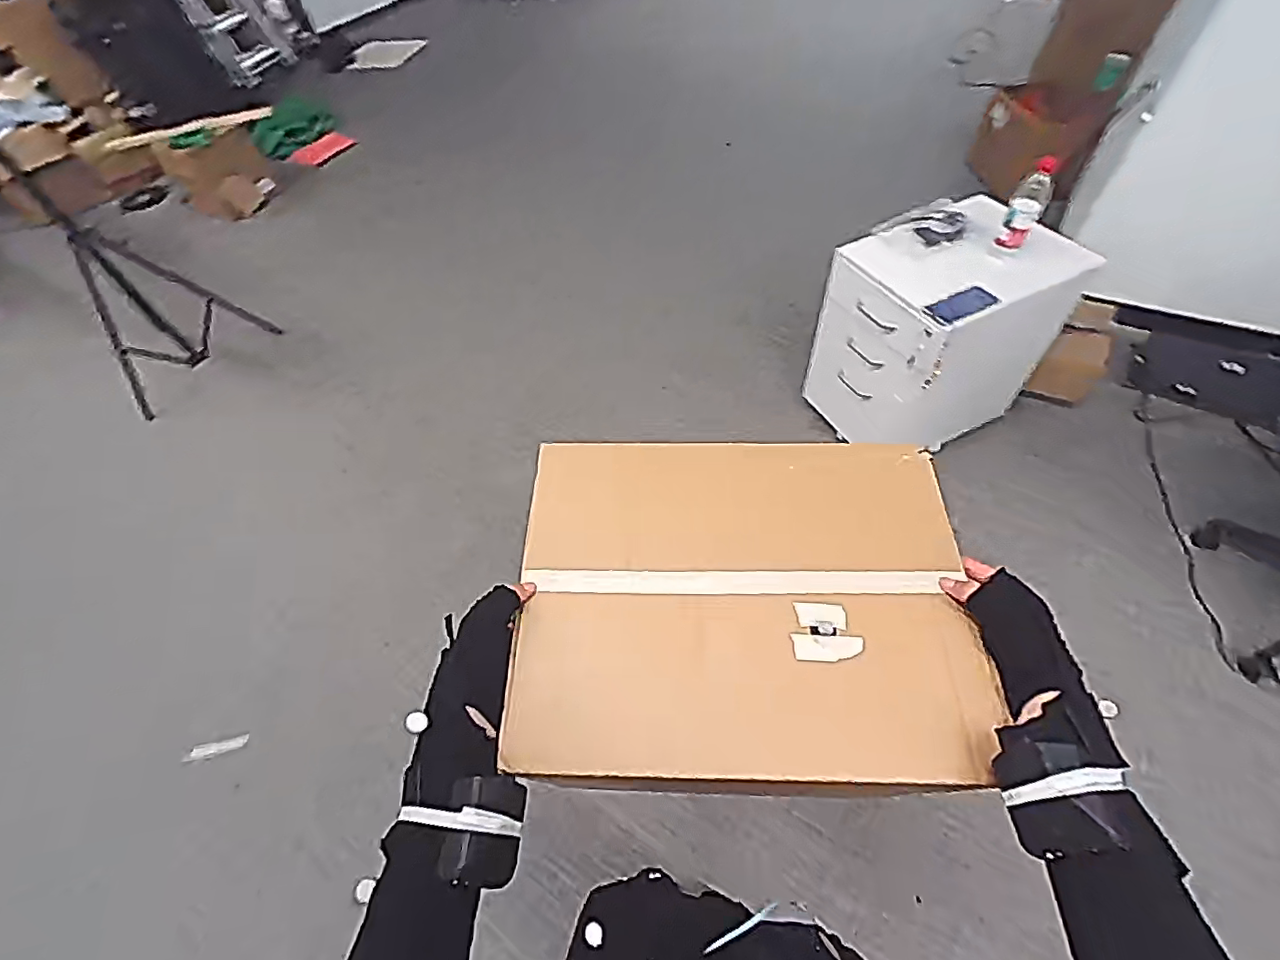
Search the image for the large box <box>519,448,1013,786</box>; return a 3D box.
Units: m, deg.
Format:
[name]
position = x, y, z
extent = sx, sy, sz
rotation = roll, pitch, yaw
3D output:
[large box]
position = 0.103, 0.174, 0.634
extent = 0.408, 0.320, 0.320
rotation = 1, 59, 2
